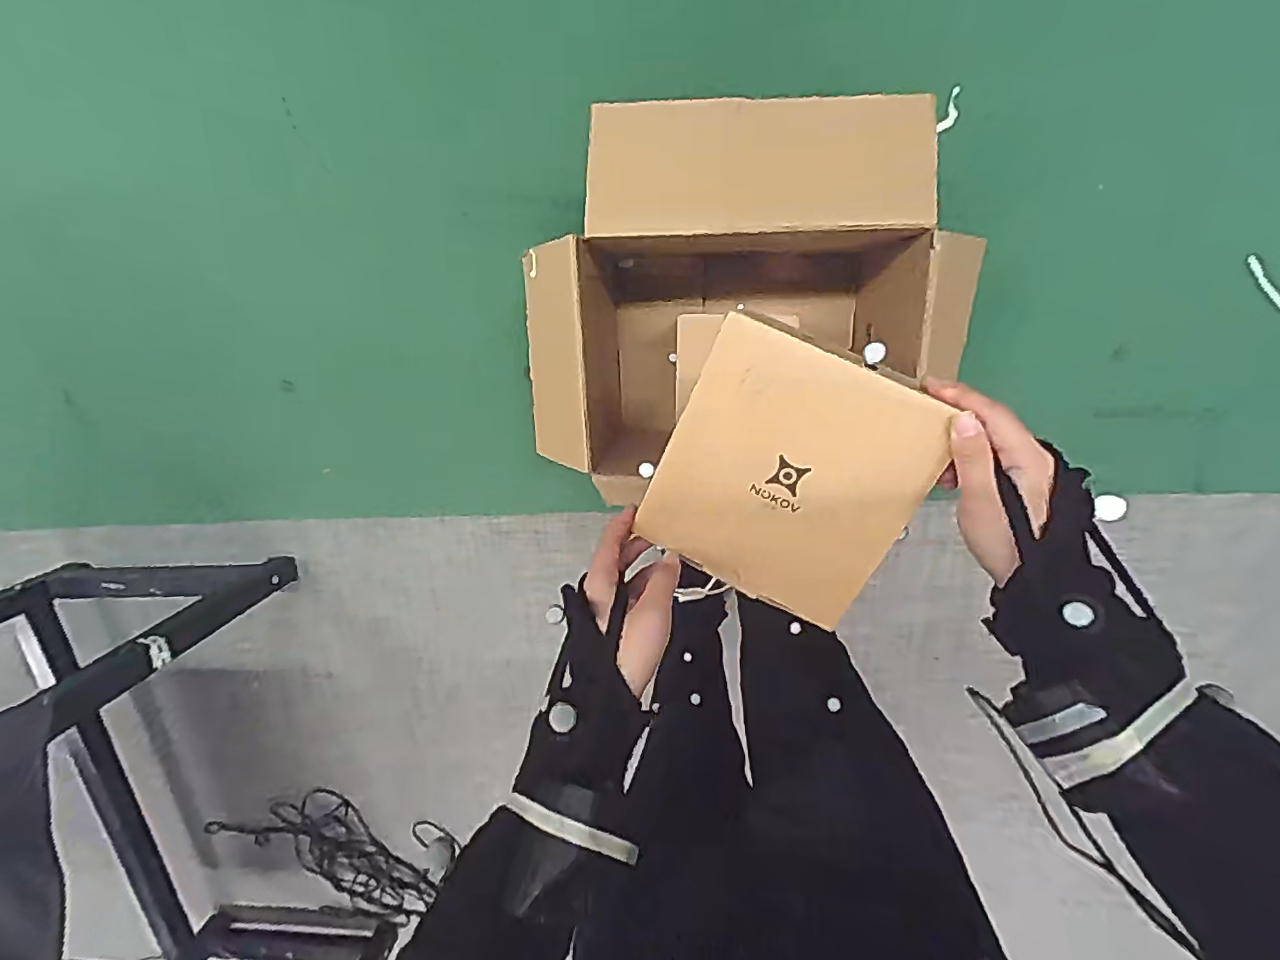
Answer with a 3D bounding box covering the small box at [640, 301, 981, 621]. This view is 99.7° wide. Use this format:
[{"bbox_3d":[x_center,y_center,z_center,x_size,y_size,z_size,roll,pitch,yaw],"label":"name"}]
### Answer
[{"bbox_3d":[0.120,-0.030,0.435,0.168,0.176,0.179,26,113,5],"label":"small box"}]
